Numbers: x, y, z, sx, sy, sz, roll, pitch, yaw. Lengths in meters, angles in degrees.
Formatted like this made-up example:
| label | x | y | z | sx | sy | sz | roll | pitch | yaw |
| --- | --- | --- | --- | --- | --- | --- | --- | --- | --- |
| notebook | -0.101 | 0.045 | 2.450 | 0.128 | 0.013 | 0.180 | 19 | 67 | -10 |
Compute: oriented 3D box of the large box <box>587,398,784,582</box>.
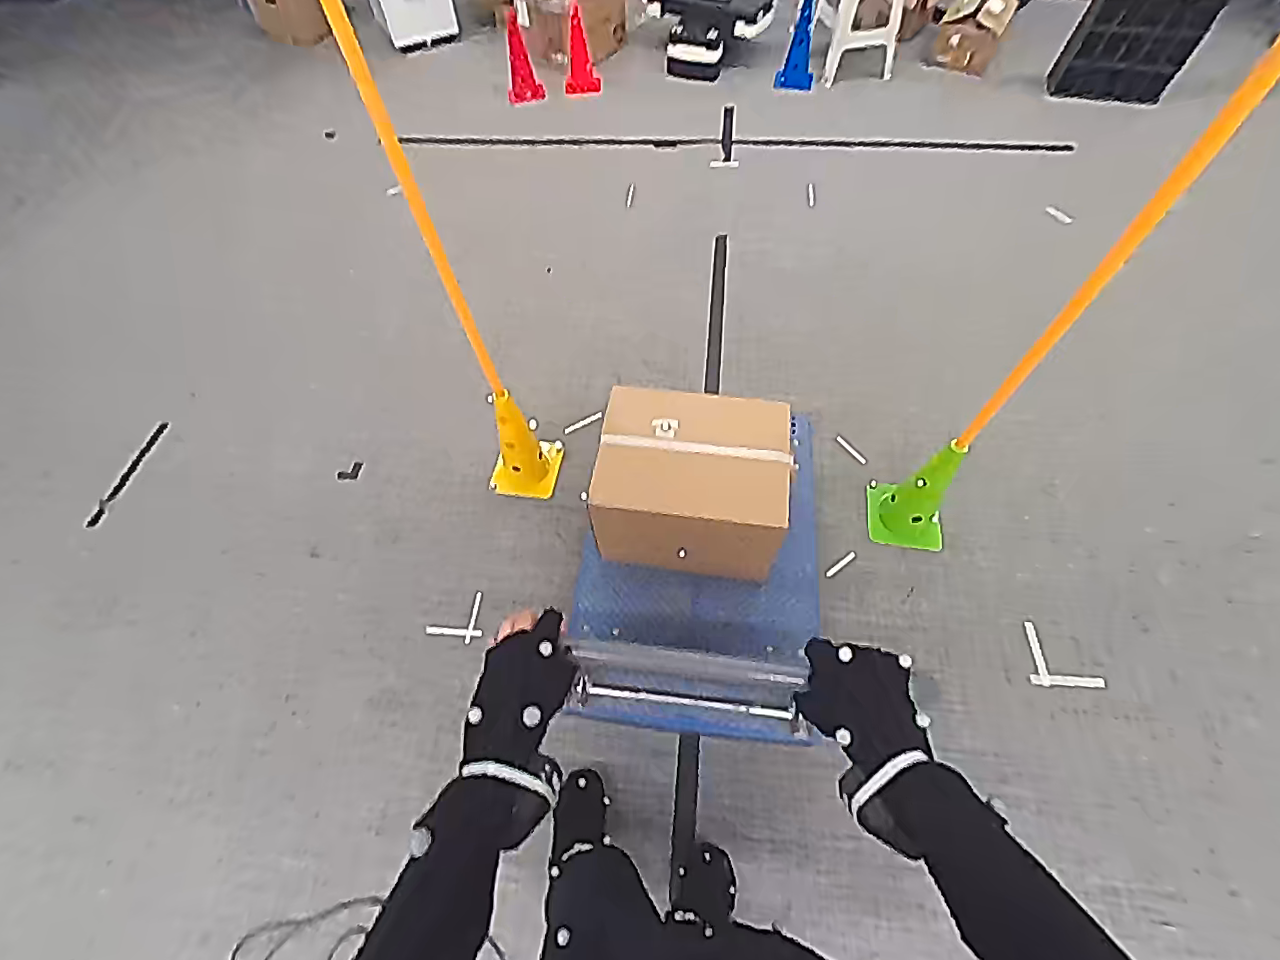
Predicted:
| label | x | y | z | sx | sy | sz | roll | pitch | yaw |
| --- | --- | --- | --- | --- | --- | --- | --- | --- | --- |
| large box | 0.116 | 0.033 | 1.285 | 0.408 | 0.320 | 0.320 | 6 | 60 | 7 |

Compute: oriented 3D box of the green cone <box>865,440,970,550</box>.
| label | x | y | z | sx | sy | sz | roll | pitch | yaw |
| --- | --- | --- | --- | --- | --- | --- | --- | --- | --- |
| green cone | 0.759 | 0.017 | 1.431 | 0.202 | 0.368 | 0.200 | 8 | 60 | 6 |
